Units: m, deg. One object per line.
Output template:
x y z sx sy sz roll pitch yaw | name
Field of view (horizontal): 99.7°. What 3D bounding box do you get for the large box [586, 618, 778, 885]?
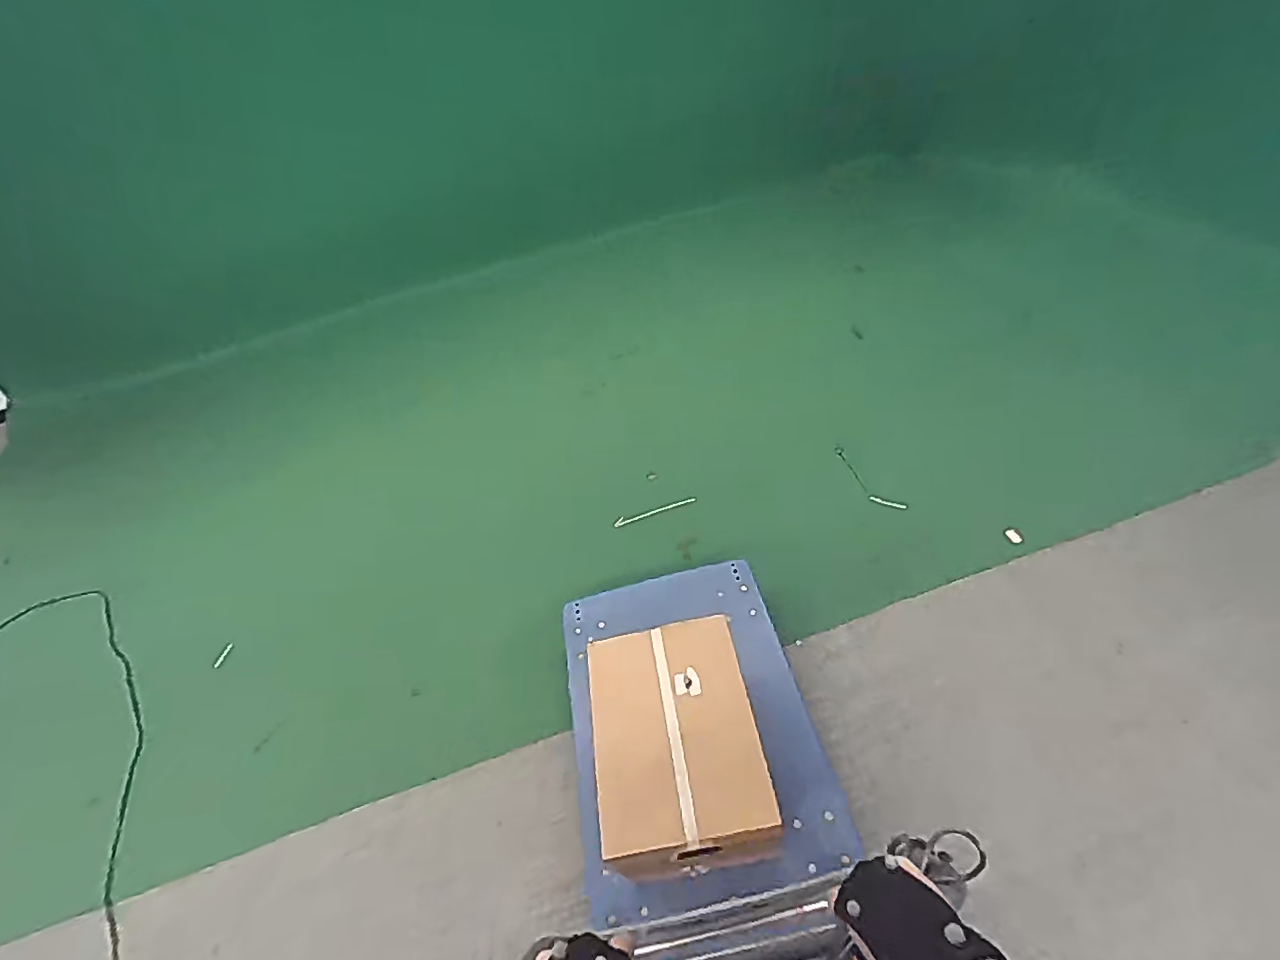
0.084 0.576 1.158 0.320 0.320 0.408 -12 45 1 | large box
